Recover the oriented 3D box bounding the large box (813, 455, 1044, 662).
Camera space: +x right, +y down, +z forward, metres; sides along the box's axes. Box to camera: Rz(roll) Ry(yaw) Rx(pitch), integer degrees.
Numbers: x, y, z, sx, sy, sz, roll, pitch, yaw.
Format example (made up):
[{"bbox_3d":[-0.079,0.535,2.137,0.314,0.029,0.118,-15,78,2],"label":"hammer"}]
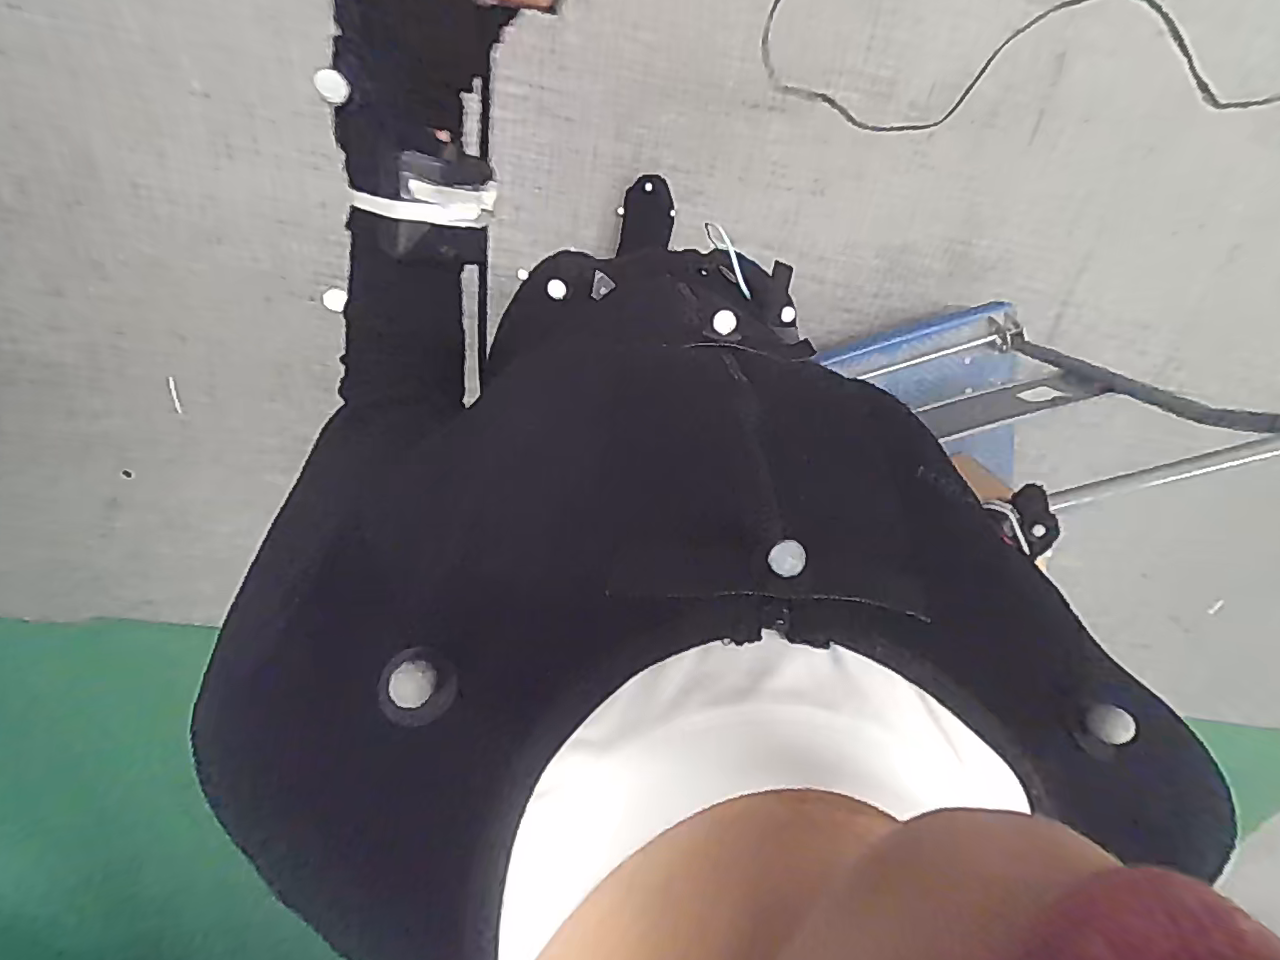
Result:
[{"bbox_3d":[0.708,0.190,1.367,0.408,0.320,0.320,-20,119,8],"label":"large box"}]
